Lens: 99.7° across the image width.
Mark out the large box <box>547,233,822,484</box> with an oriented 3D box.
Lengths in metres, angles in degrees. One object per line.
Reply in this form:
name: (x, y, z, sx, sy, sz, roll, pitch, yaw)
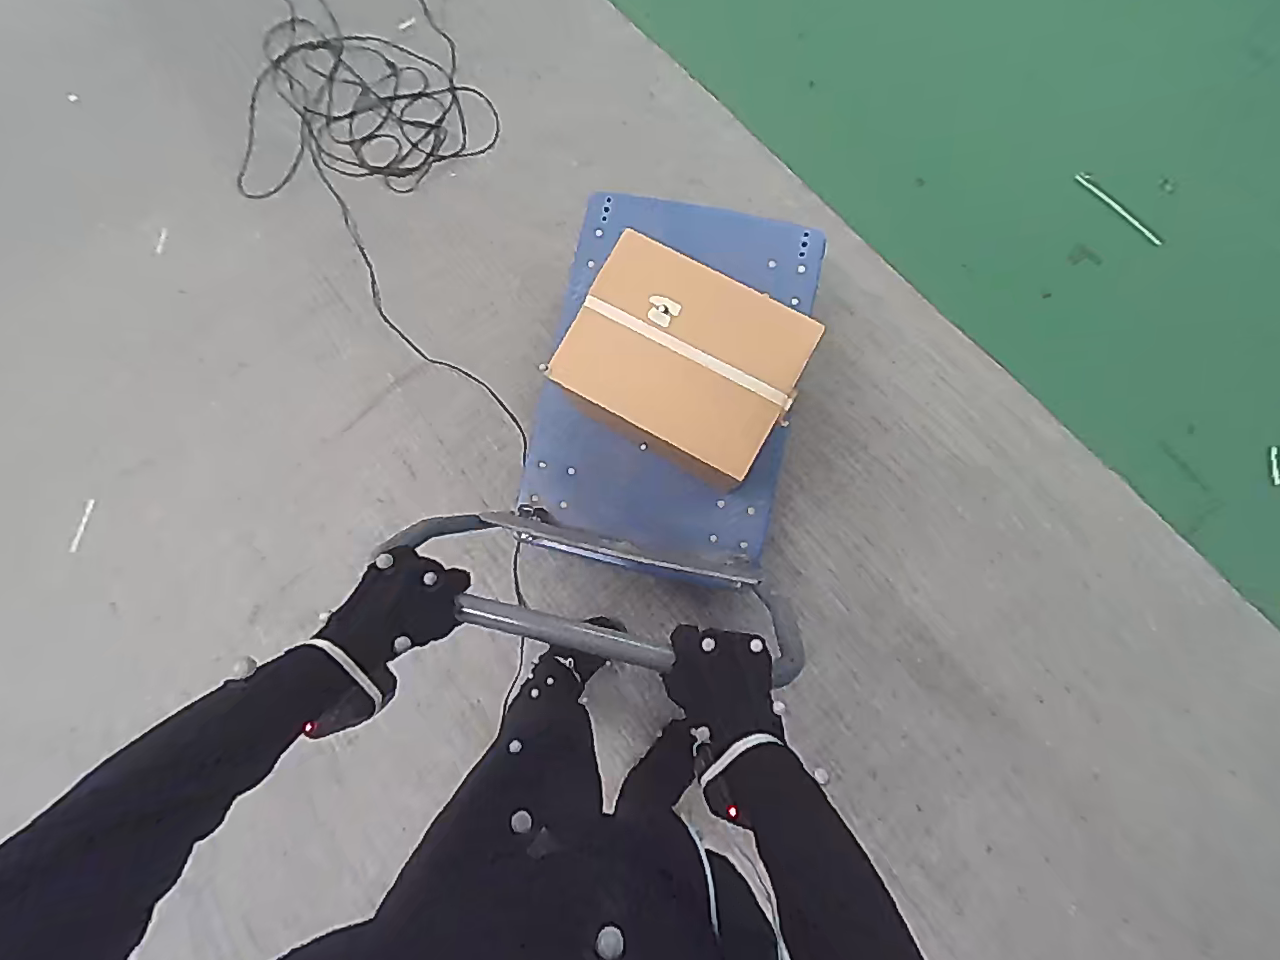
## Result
large box: (0.091, -0.217, 1.101, 0.408, 0.320, 0.320, 28, 88, 7)
